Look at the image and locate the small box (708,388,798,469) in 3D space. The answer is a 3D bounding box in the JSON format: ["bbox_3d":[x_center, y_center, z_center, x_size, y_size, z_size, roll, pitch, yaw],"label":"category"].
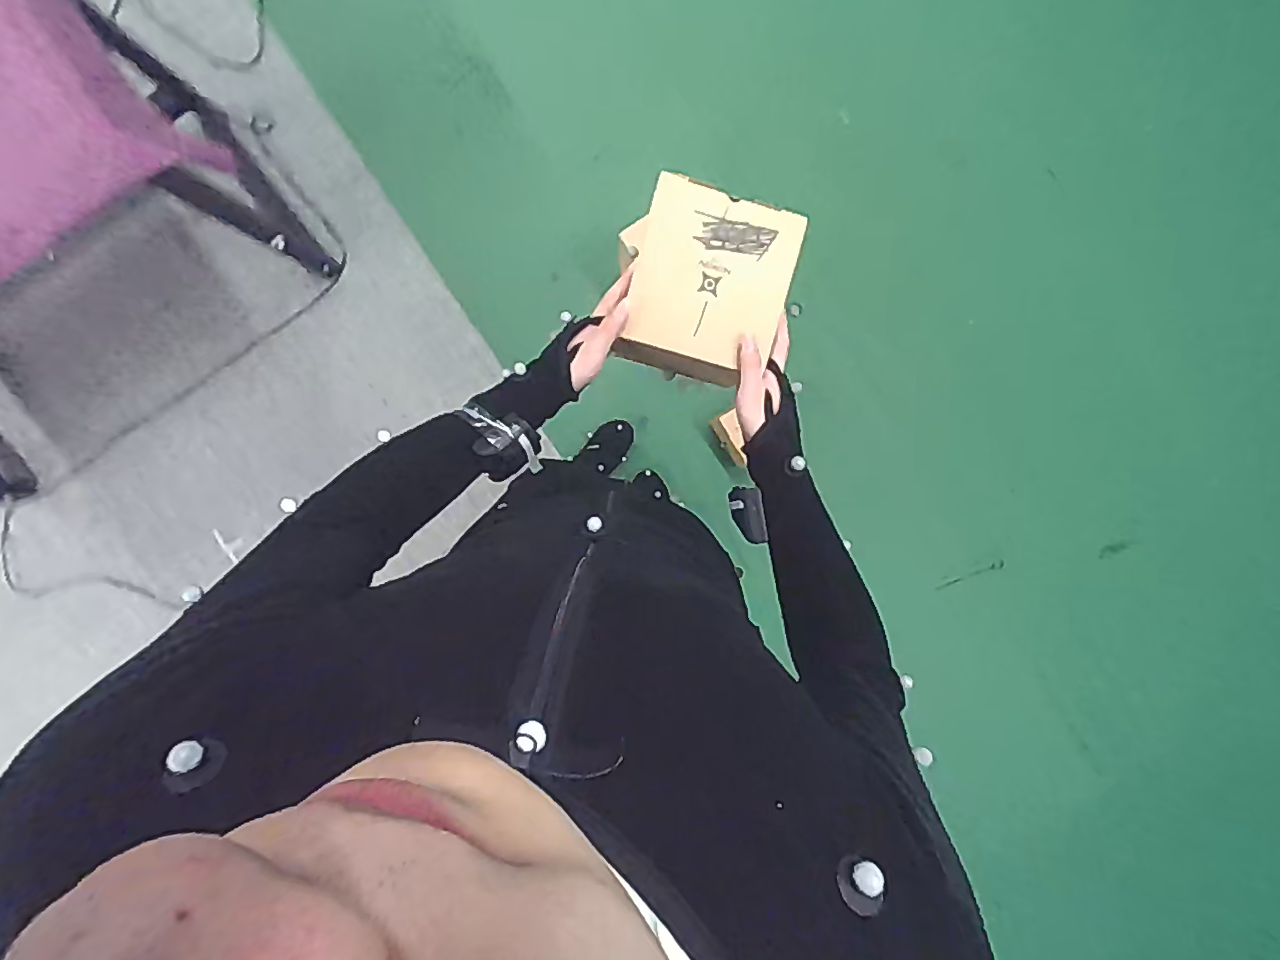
[{"bbox_3d":[0.318,-0.147,1.556,0.179,0.176,0.168,-32,94,0],"label":"small box"}]

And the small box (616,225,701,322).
[{"bbox_3d":[0.049,-0.570,1.522,0.179,0.176,0.168,-33,94,-1],"label":"small box"}]
